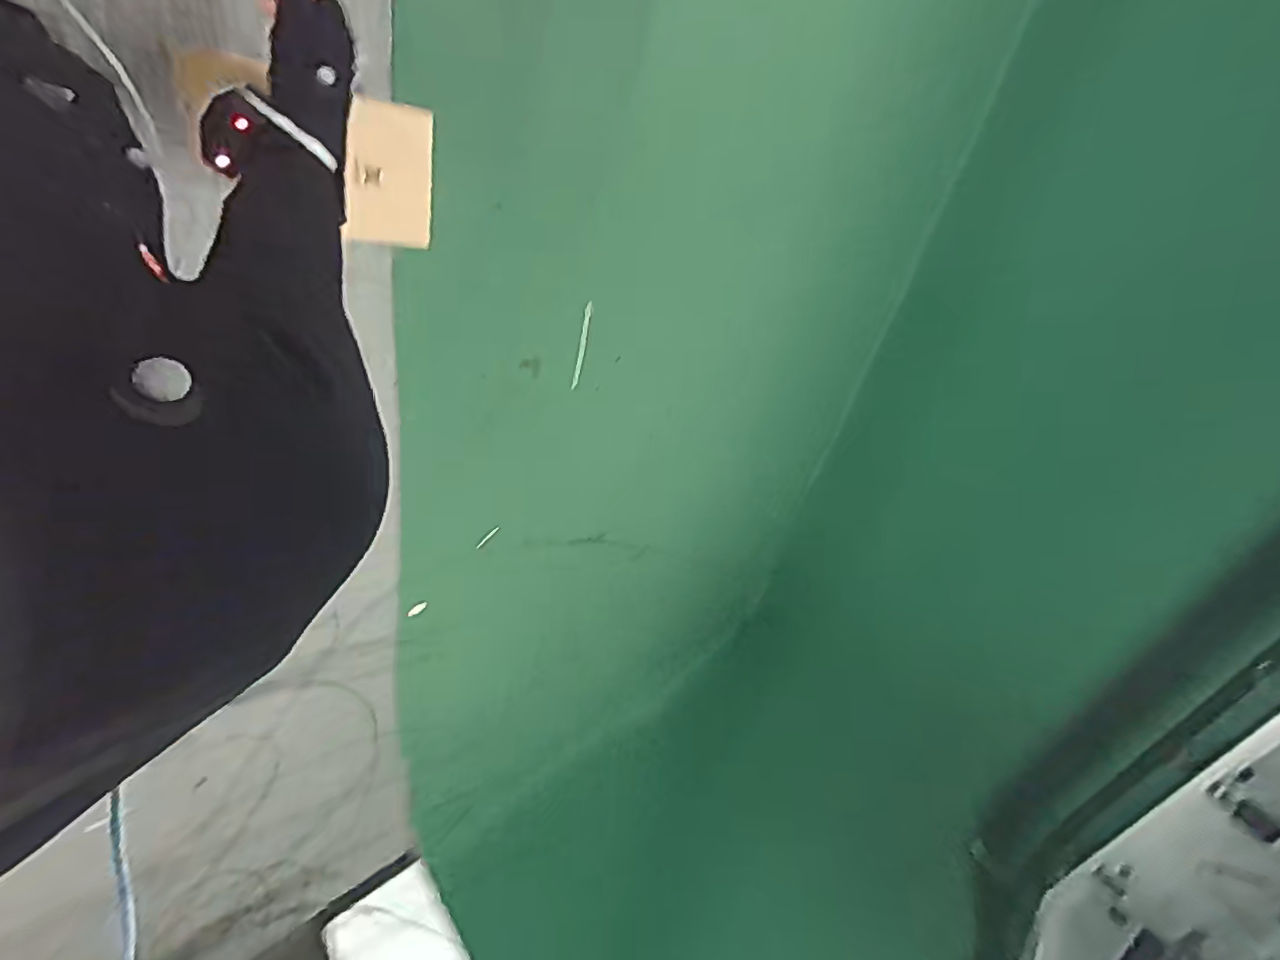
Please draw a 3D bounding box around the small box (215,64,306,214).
[{"bbox_3d":[-0.534,-0.508,0.834,0.168,0.176,0.179,-12,128,-44],"label":"small box"}]

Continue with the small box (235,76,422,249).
[{"bbox_3d":[-0.422,-0.430,0.741,0.179,0.176,0.168,-15,130,-42],"label":"small box"}]

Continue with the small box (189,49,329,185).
[{"bbox_3d":[-0.642,-0.595,0.918,0.168,0.176,0.179,-12,128,-45],"label":"small box"}]
